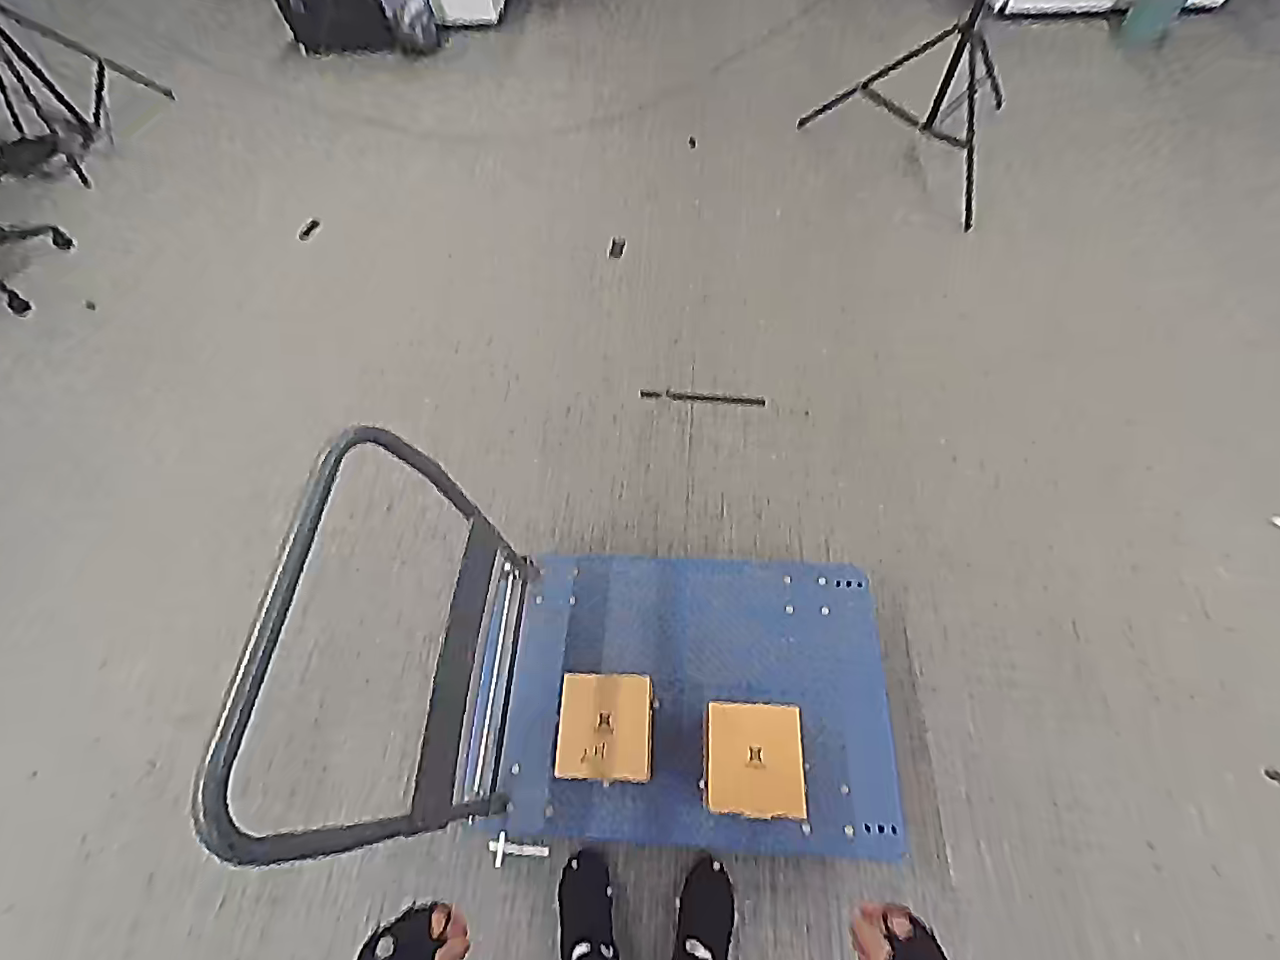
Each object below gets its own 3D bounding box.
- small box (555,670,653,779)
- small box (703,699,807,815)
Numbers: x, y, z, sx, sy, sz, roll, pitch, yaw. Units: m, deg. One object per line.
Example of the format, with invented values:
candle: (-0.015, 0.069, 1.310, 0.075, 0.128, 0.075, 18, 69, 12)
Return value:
small box: (-0.062, 0.478, 1.053, 0.168, 0.176, 0.179, 0, 62, 4)
small box: (0.206, 0.520, 1.017, 0.168, 0.176, 0.179, 1, 62, 4)
